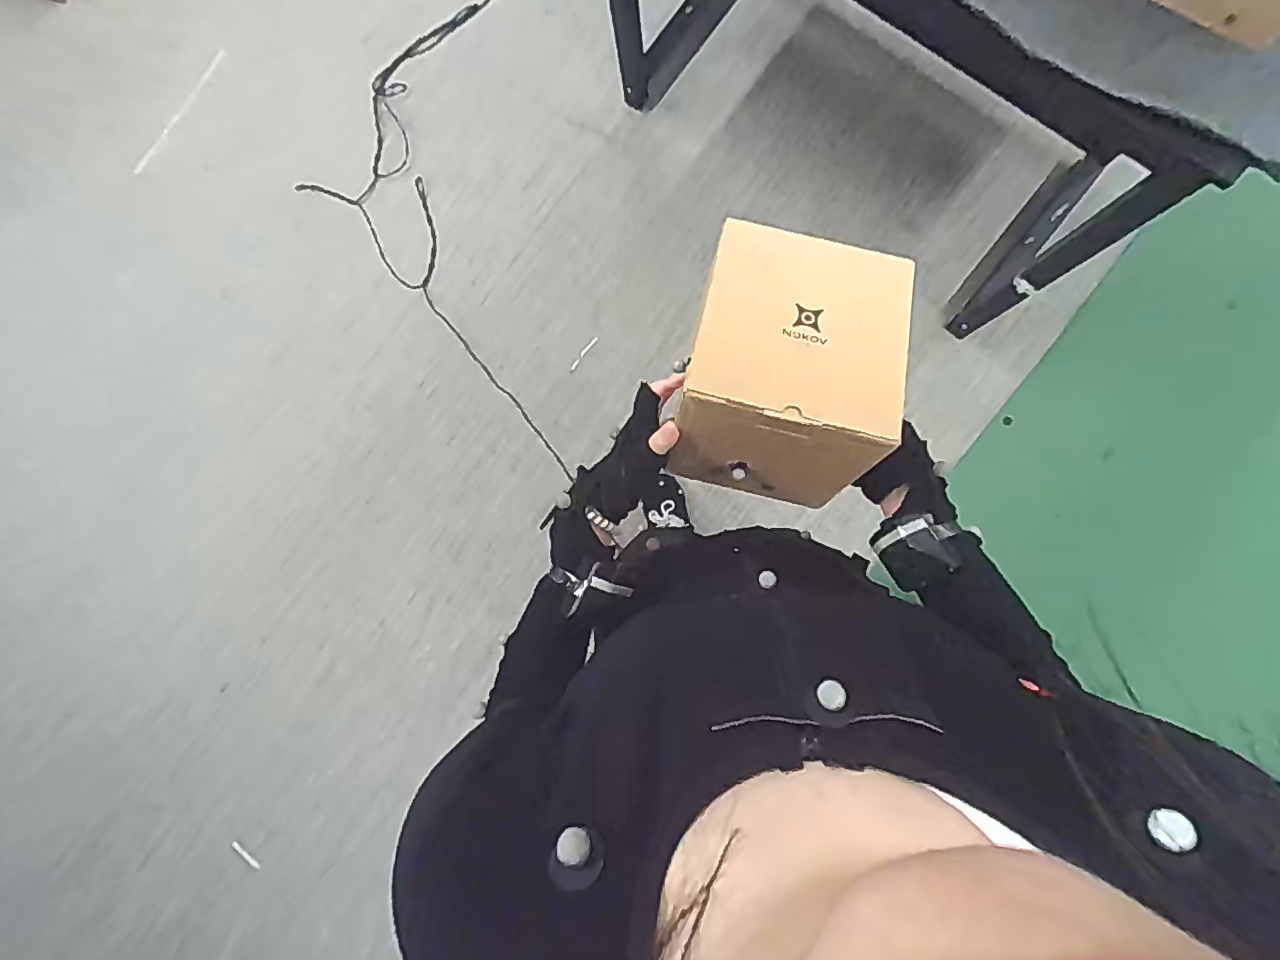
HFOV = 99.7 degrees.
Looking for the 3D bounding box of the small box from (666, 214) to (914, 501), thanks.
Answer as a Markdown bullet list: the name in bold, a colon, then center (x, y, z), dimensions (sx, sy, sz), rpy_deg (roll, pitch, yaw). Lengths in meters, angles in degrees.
- **small box**: center (0.125, -0.100, 0.500), dimensions (0.168, 0.176, 0.179), rpy_deg (14, 71, 1)
